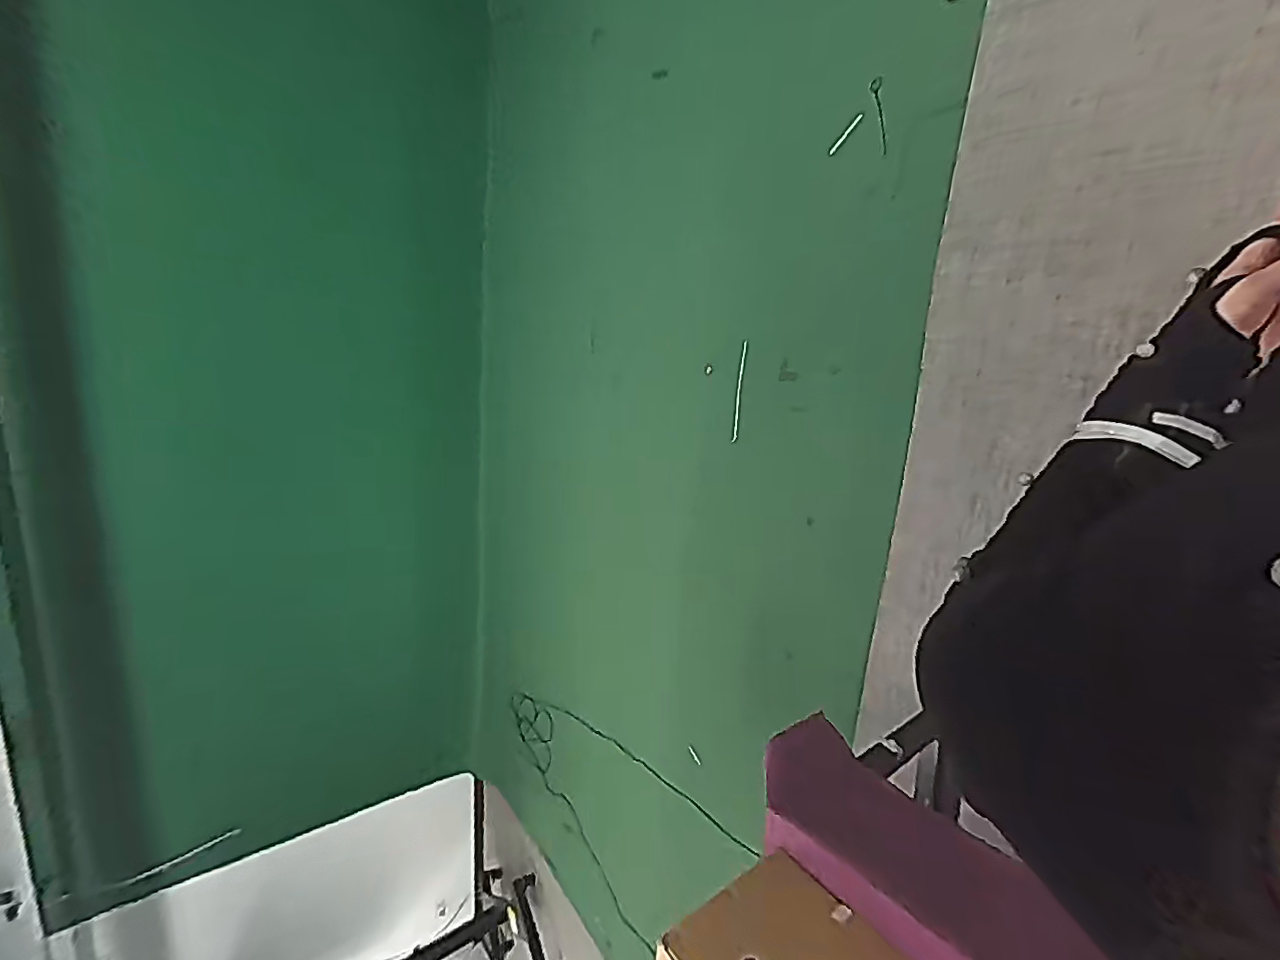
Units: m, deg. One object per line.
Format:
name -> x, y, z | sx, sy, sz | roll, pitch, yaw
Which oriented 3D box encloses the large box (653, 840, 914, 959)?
large box -> 0.224, 0.937, 0.901 | 0.320, 0.320, 0.408 | 18, 107, 49
